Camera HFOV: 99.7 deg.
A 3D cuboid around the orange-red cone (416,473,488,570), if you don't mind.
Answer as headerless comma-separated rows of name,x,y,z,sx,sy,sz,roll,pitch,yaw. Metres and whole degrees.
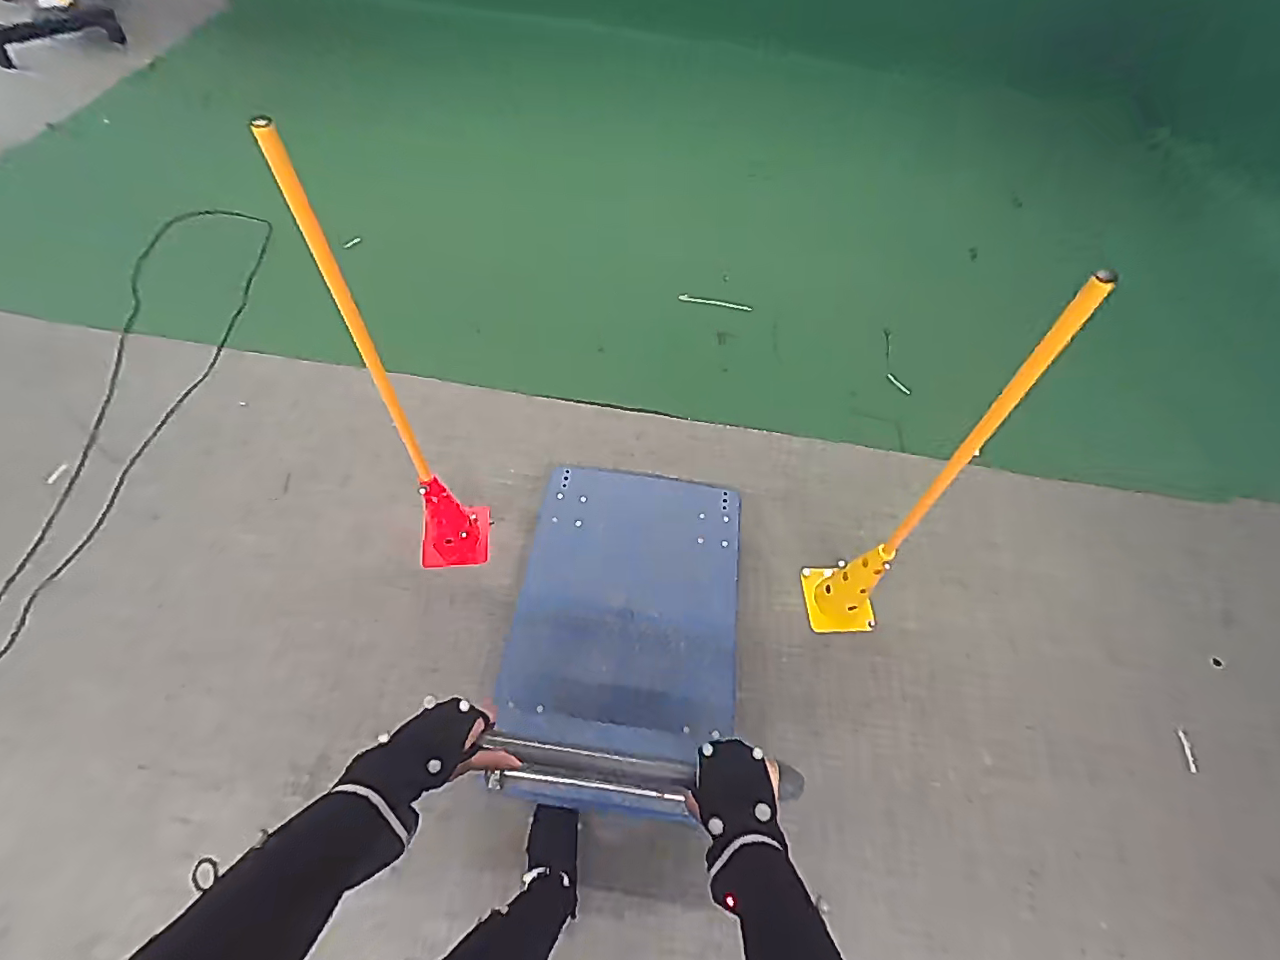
orange-red cone,-0.564,0.091,1.522,0.199,0.360,0.198,-4,58,-5
